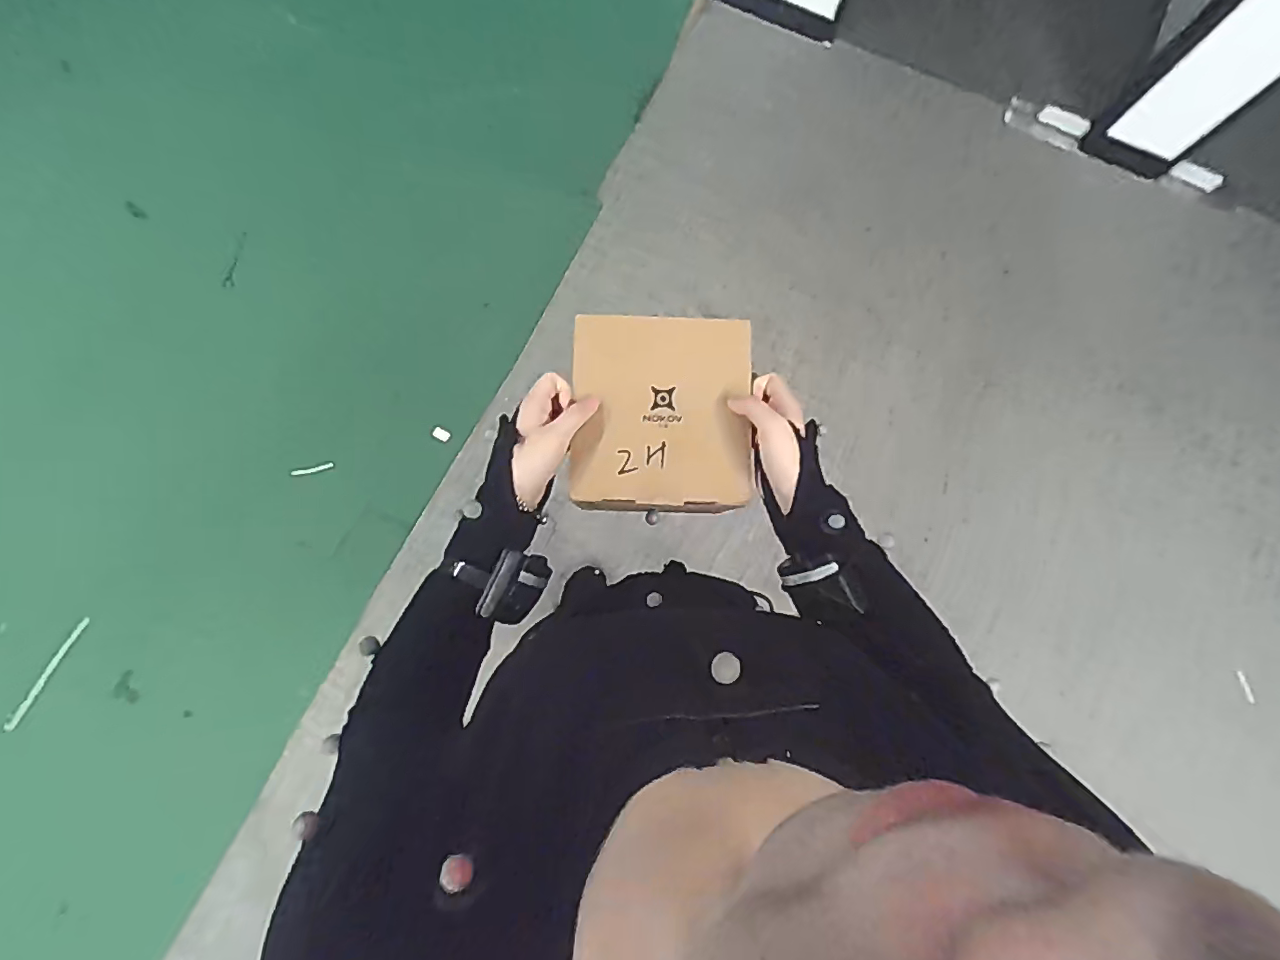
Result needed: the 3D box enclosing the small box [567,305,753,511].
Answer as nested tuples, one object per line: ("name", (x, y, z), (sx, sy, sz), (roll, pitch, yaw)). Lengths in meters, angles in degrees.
("small box", (0.017, -0.062, 0.561), (0.168, 0.176, 0.179), (1, 84, -1))
